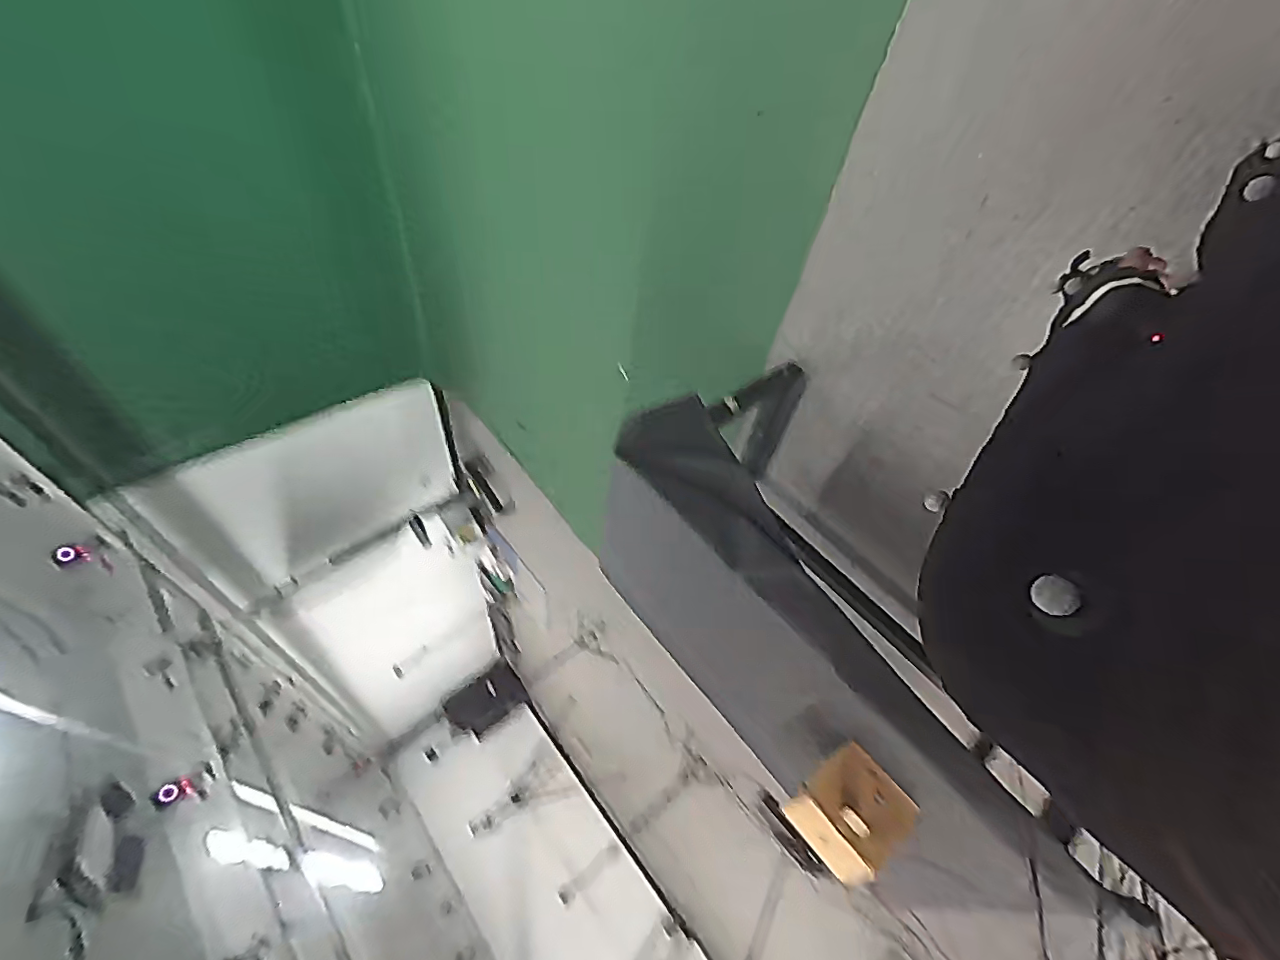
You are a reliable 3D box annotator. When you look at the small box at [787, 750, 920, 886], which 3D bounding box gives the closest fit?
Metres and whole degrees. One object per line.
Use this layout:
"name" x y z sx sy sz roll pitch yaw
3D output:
"small box" 0.446 0.705 1.132 0.168 0.176 0.179 45 148 27
